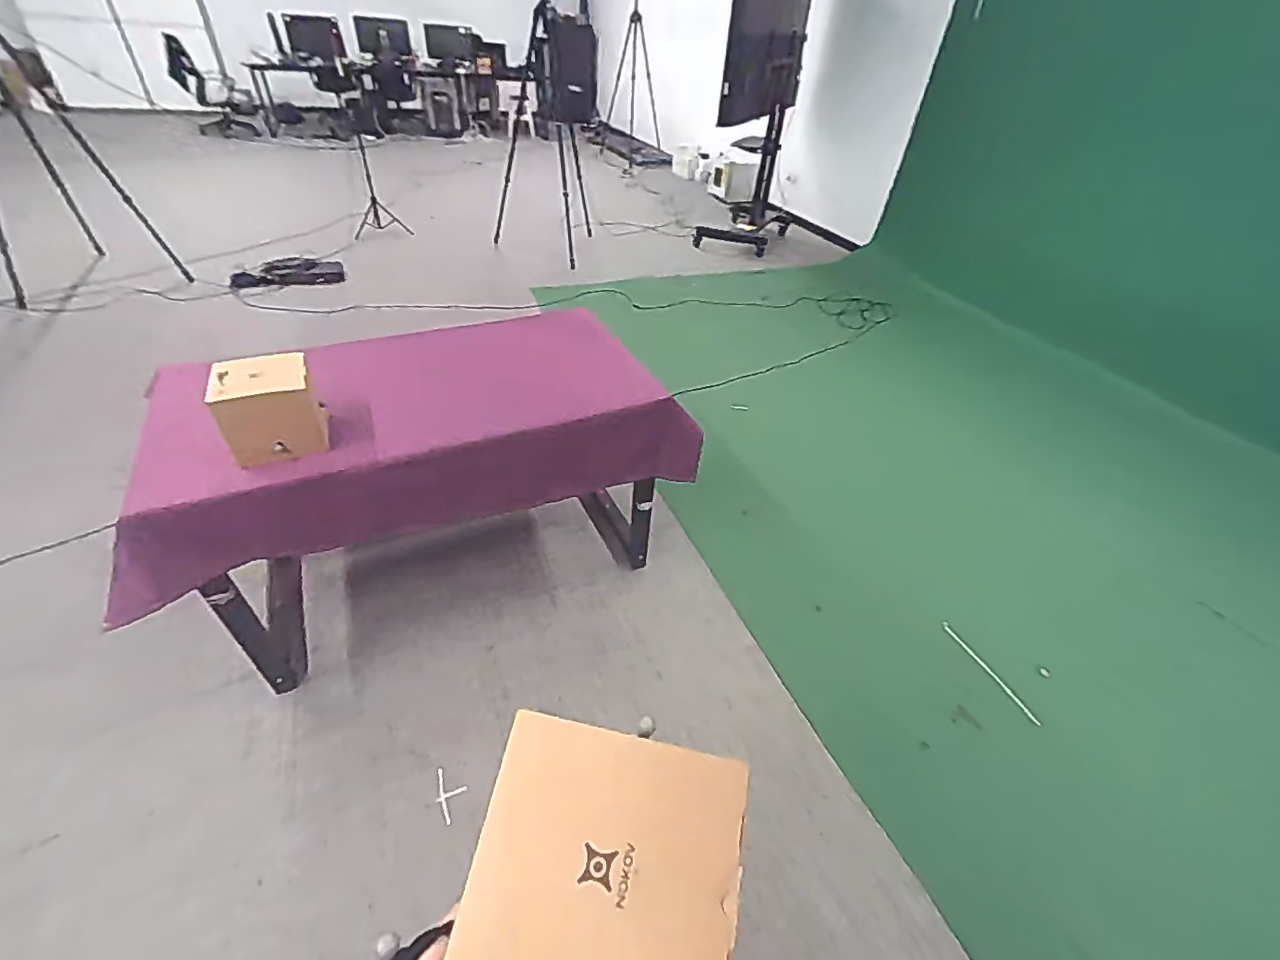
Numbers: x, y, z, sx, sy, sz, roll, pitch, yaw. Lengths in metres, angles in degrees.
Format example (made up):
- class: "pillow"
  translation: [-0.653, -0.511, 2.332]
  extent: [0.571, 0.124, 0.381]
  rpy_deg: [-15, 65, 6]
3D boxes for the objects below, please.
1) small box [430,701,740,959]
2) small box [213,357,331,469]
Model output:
- class: "small box"
  translation: [-0.028, 0.289, 0.427]
  extent: [0.179, 0.176, 0.168]
  rpy_deg: [10, 62, 7]
- class: "small box"
  translation: [-0.793, -0.148, 1.188]
  extent: [0.179, 0.176, 0.168]
  rpy_deg: [-13, 43, -21]
